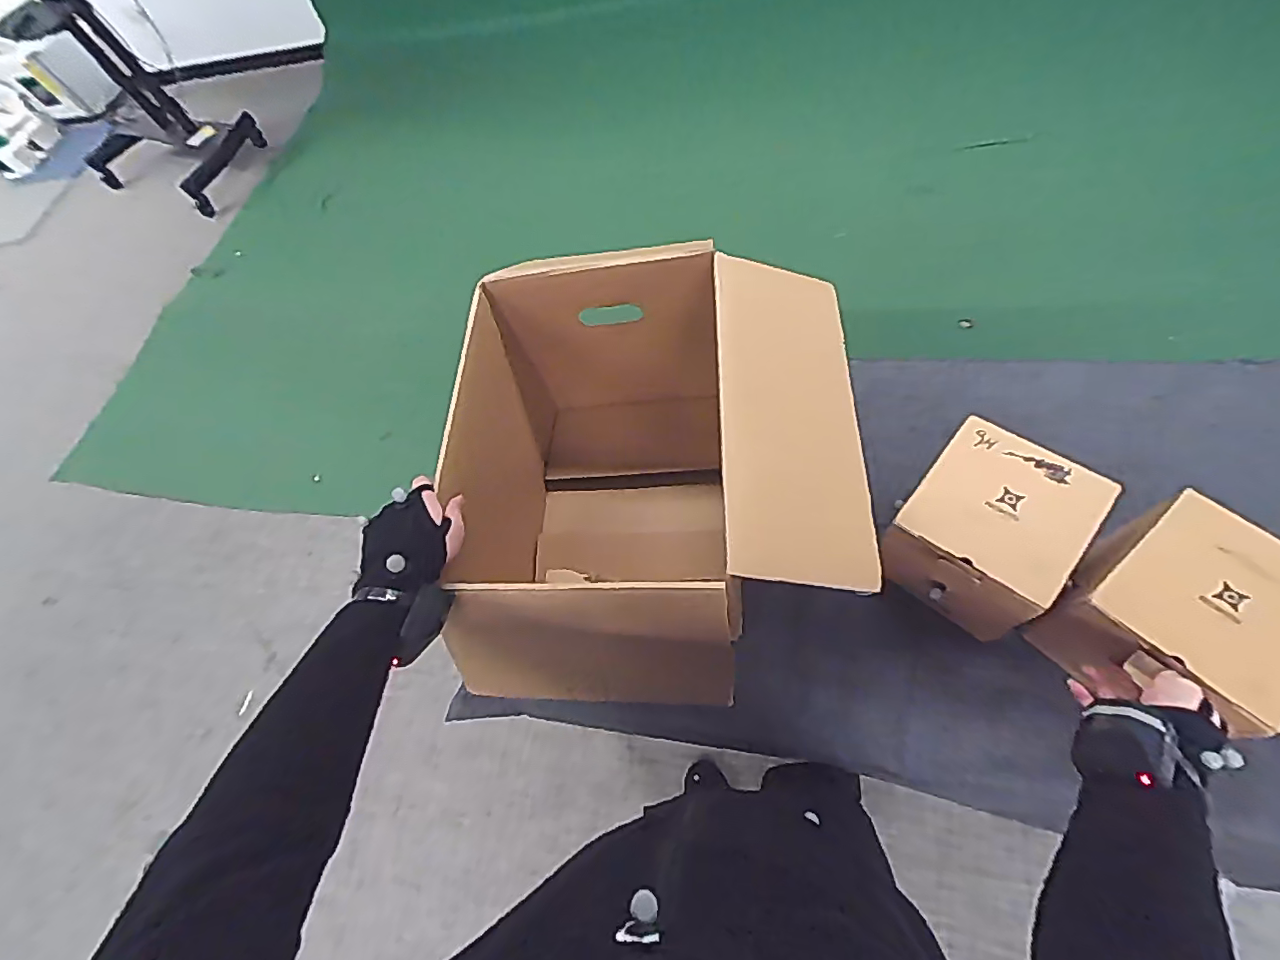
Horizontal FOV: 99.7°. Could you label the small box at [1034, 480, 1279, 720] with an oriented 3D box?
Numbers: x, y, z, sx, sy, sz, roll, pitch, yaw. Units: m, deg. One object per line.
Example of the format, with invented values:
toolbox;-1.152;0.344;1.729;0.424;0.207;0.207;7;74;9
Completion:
small box;0.578;0.139;0.589;0.179;0.176;0.168;-42;64;-10
